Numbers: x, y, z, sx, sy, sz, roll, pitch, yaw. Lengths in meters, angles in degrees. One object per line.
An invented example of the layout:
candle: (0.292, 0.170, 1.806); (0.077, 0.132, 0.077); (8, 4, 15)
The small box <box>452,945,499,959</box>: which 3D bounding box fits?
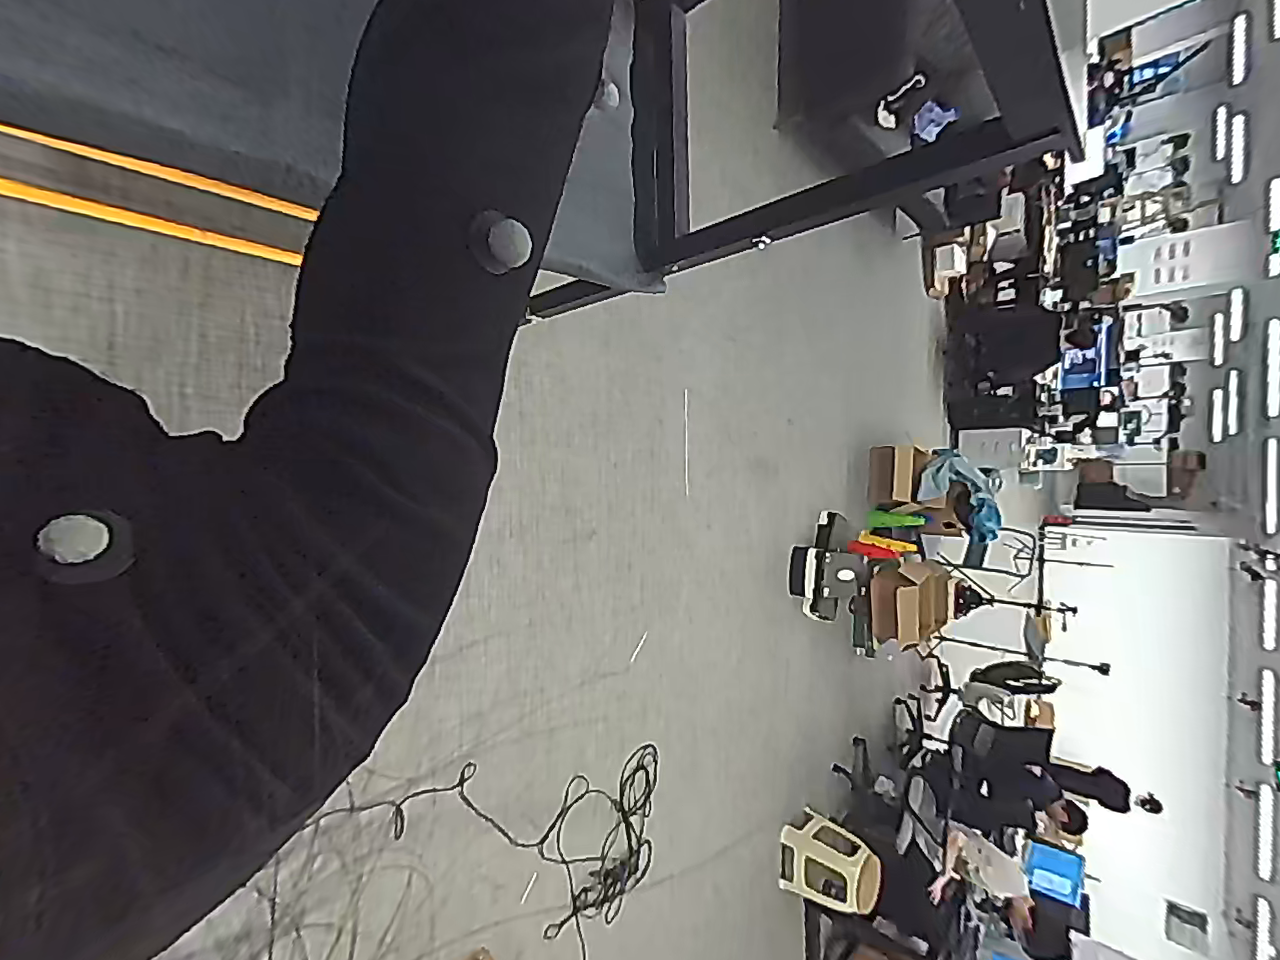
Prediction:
small box: (-0.508, 1.551, 1.615); (0.168, 0.176, 0.179); (3, 89, -47)
